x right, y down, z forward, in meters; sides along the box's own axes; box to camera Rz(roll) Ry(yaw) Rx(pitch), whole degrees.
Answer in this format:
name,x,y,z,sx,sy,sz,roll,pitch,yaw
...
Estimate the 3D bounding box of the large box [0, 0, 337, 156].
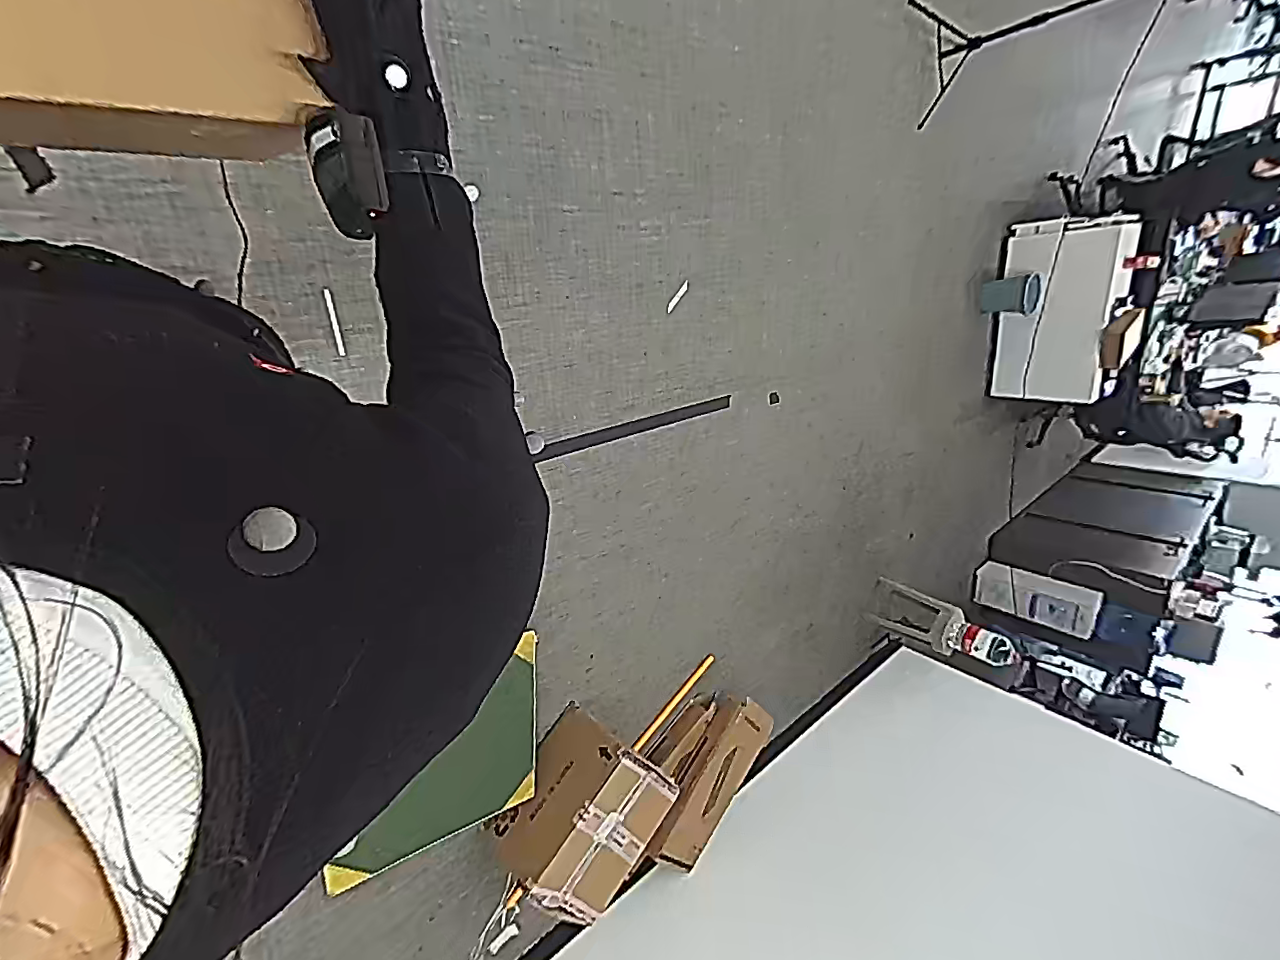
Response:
name,x,y,z,sx,sy,sz,roll,pitch,yaw
large box,-0.459,-0.381,0.301,0.408,0.320,0.320,-20,123,-36
